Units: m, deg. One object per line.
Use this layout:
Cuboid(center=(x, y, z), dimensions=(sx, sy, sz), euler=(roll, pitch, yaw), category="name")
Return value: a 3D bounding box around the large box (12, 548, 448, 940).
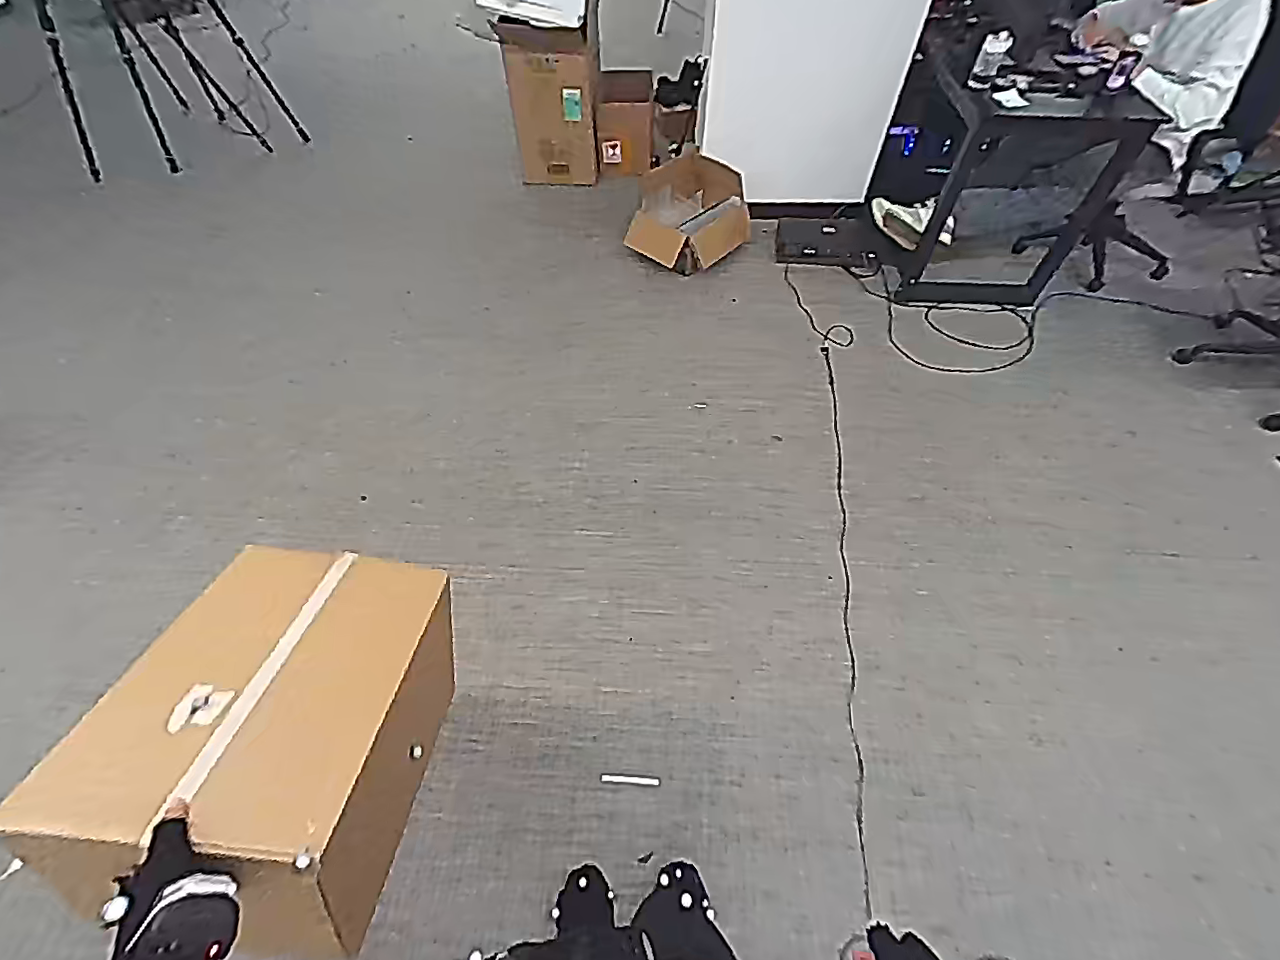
Cuboid(center=(-0.494, 0.363, 0.788), dimensions=(0.320, 0.320, 0.408), euler=(8, 36, -3), category="large box")
